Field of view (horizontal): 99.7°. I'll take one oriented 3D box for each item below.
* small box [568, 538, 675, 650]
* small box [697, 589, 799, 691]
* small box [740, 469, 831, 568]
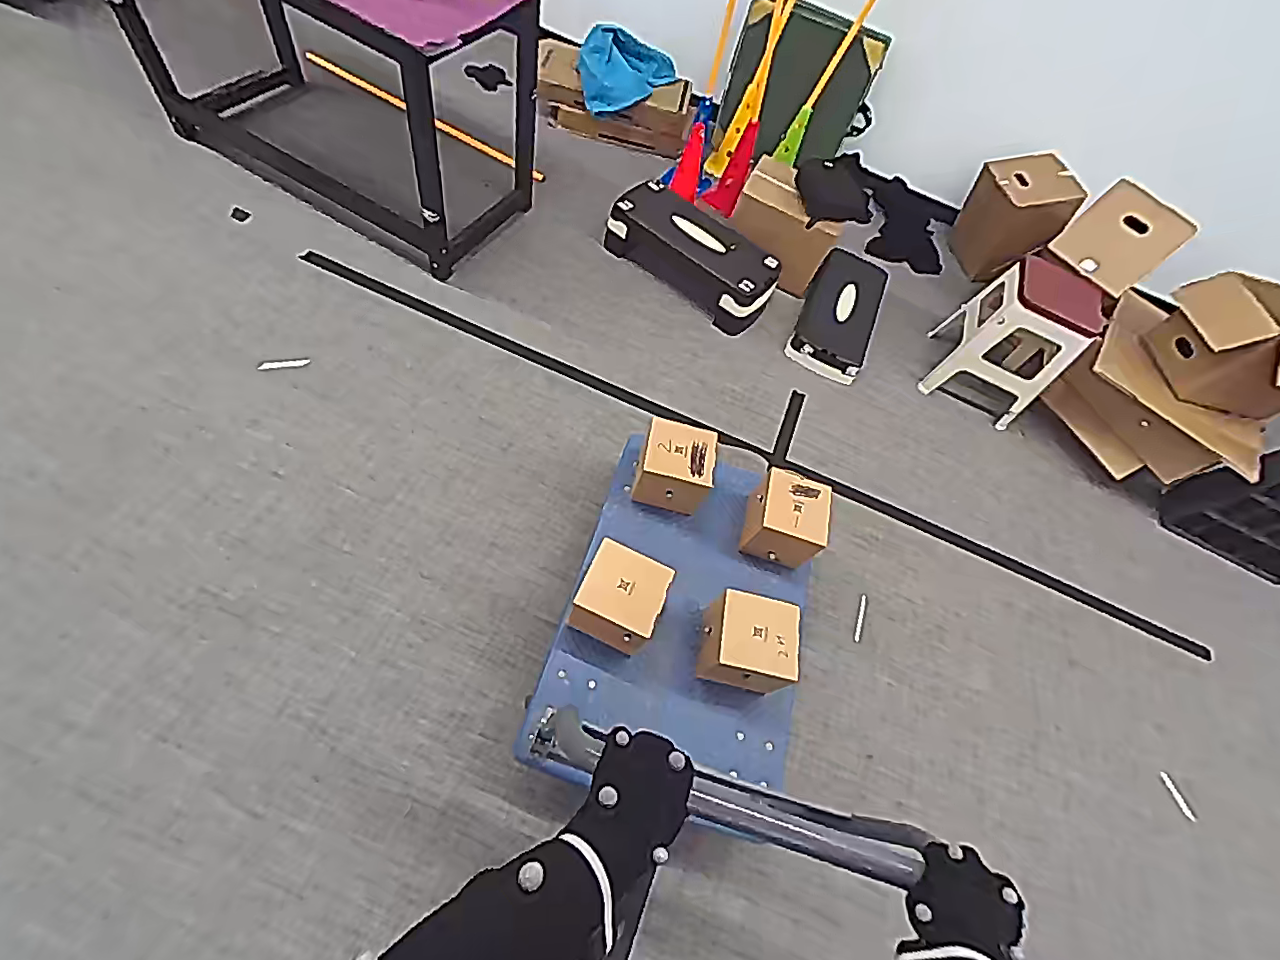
[{"bbox_3d":[-0.047,0.264,1.218,0.179,0.176,0.168,26,58,0],"label":"small box"},{"bbox_3d":[0.241,0.369,1.229,0.179,0.176,0.168,16,59,-5],"label":"small box"},{"bbox_3d":[0.375,0.105,1.408,0.168,0.176,0.179,19,60,-3],"label":"small box"}]
